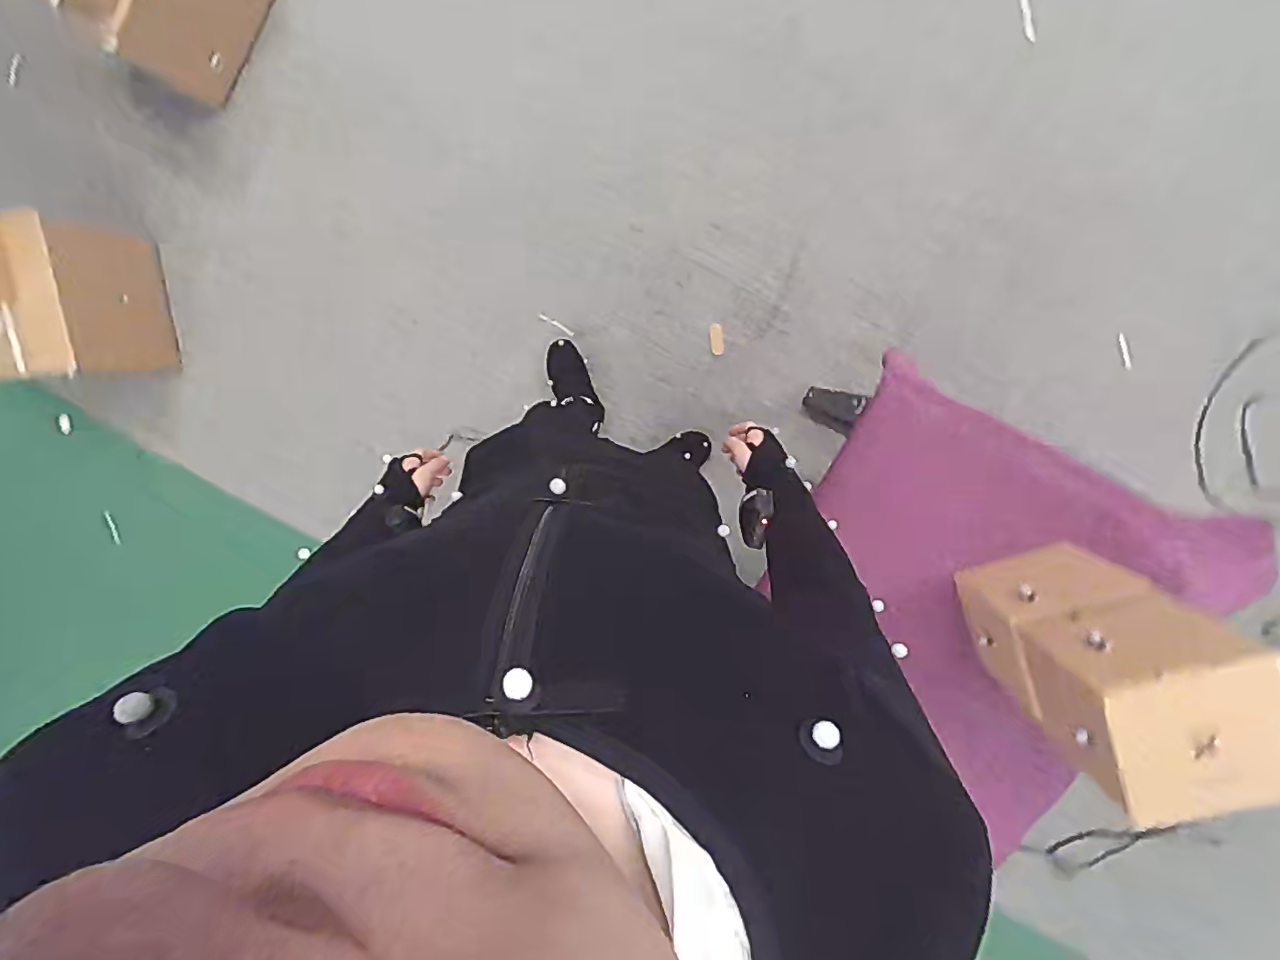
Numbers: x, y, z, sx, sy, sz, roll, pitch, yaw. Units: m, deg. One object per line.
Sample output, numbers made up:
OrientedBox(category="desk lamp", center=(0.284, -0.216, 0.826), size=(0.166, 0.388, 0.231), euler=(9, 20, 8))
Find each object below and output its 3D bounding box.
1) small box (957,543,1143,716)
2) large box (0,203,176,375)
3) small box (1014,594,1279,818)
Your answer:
OrientedBox(category="small box", center=(0.606, 0.214, 0.809), size=(0.179, 0.176, 0.168), euler=(-19, 100, 9))
OrientedBox(category="large box", center=(-1.631, -0.516, 1.530), size=(0.320, 0.320, 0.408), euler=(-2, 103, 7))
OrientedBox(category="small box", center=(0.592, 0.255, 0.652), size=(0.168, 0.176, 0.179), euler=(-19, 100, 10))
